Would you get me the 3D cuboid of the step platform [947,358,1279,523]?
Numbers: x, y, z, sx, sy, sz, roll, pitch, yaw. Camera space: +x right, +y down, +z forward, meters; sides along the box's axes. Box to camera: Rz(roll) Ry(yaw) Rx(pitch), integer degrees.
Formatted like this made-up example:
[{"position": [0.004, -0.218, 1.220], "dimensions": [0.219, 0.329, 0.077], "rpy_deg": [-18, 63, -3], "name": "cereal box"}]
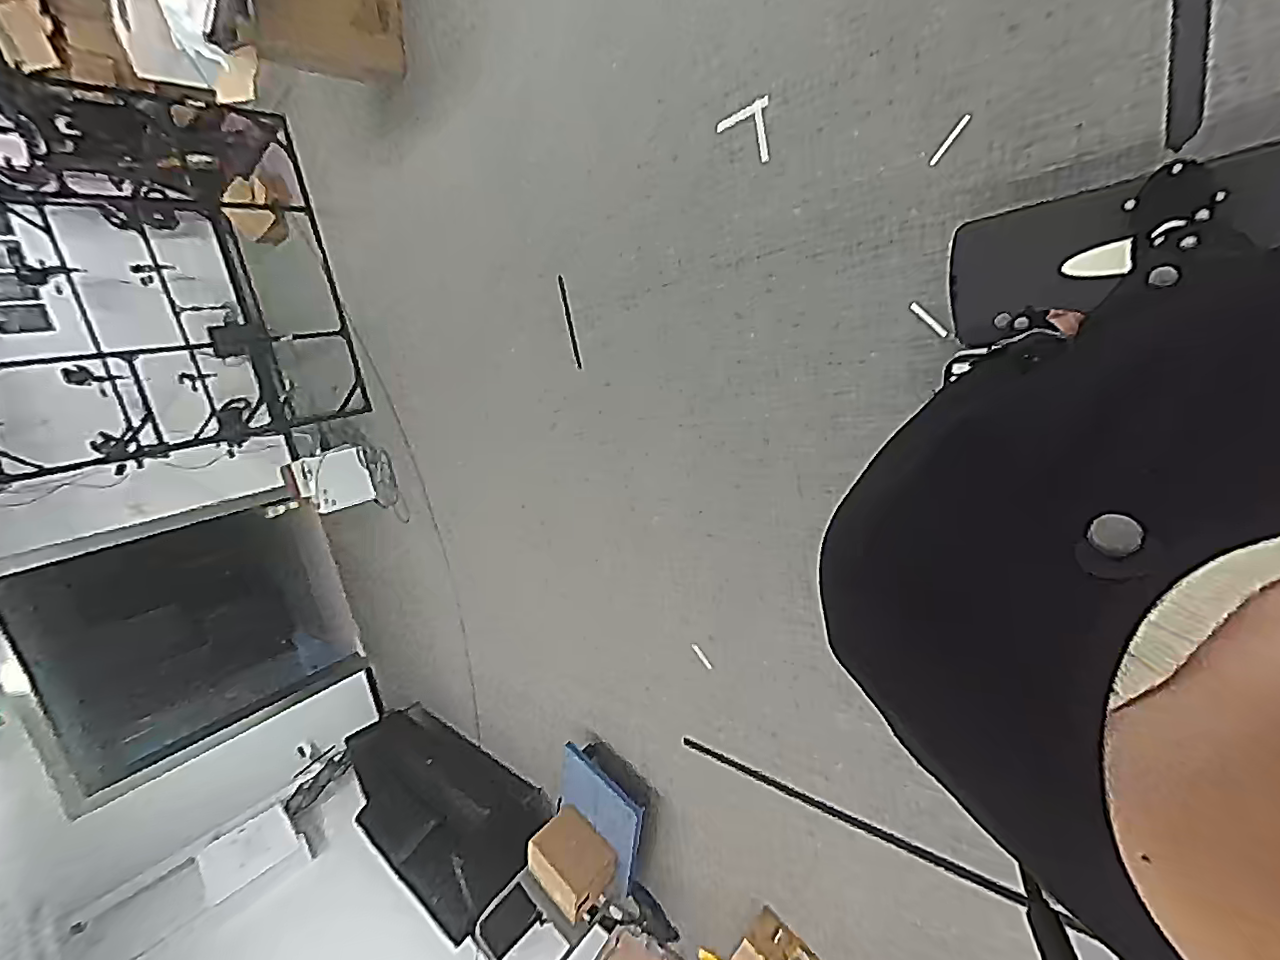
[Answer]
[{"position": [1.005, -0.100, 1.080], "dimensions": [0.684, 0.204, 0.286], "rpy_deg": [9, 111, 44], "name": "step platform"}]
